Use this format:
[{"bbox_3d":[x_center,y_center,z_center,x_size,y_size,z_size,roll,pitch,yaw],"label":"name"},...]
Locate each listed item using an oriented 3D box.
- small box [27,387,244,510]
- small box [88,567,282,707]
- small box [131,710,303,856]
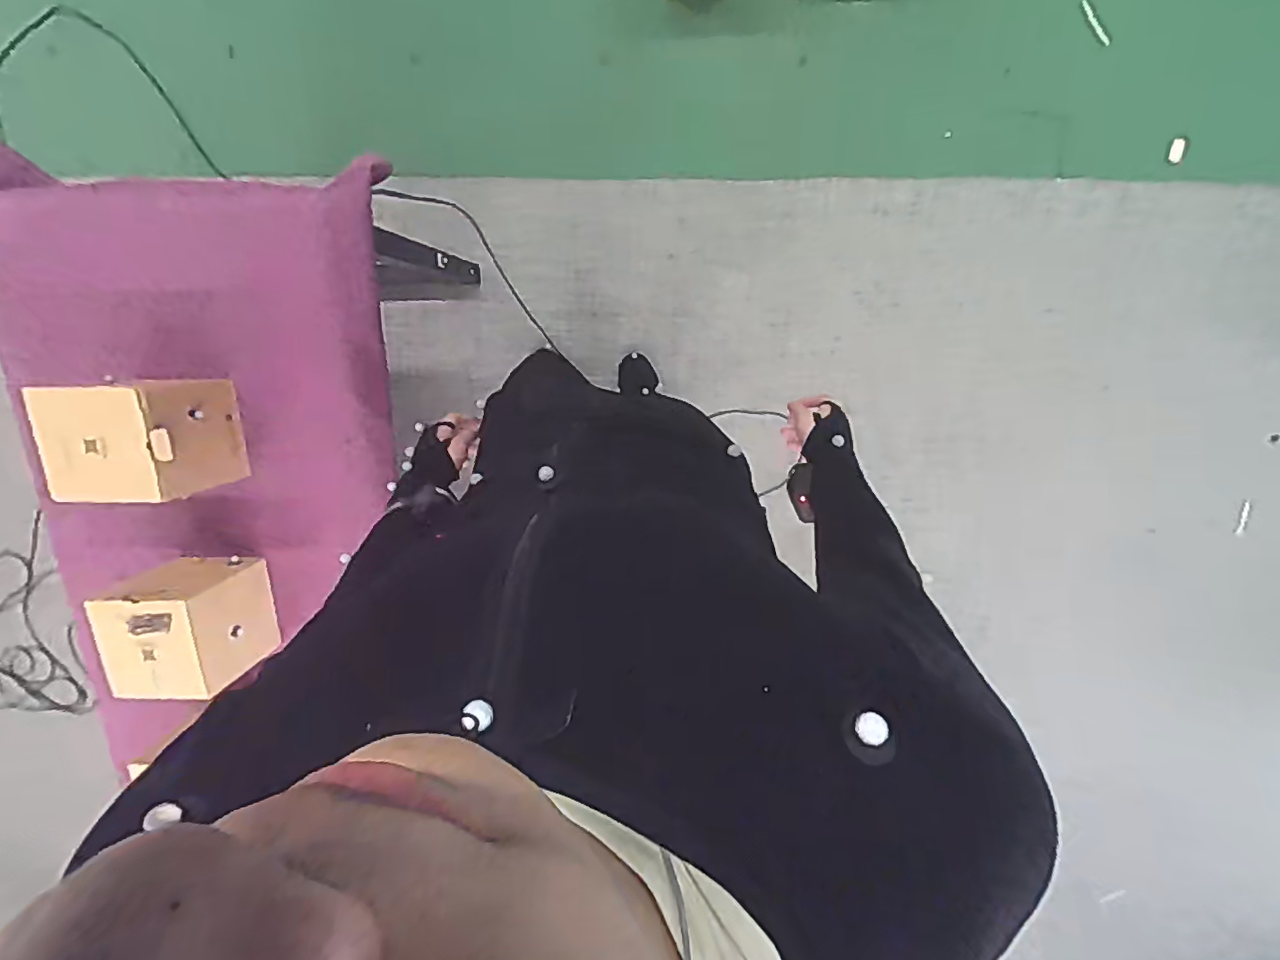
[{"bbox_3d":[-0.756,-0.056,0.837,0.179,0.176,0.168,0,103,4],"label":"small box"},{"bbox_3d":[-0.748,0.255,0.911,0.168,0.176,0.179,-1,104,4],"label":"small box"},{"bbox_3d":[-0.745,0.539,0.979,0.179,0.176,0.168,-1,103,3],"label":"small box"}]
